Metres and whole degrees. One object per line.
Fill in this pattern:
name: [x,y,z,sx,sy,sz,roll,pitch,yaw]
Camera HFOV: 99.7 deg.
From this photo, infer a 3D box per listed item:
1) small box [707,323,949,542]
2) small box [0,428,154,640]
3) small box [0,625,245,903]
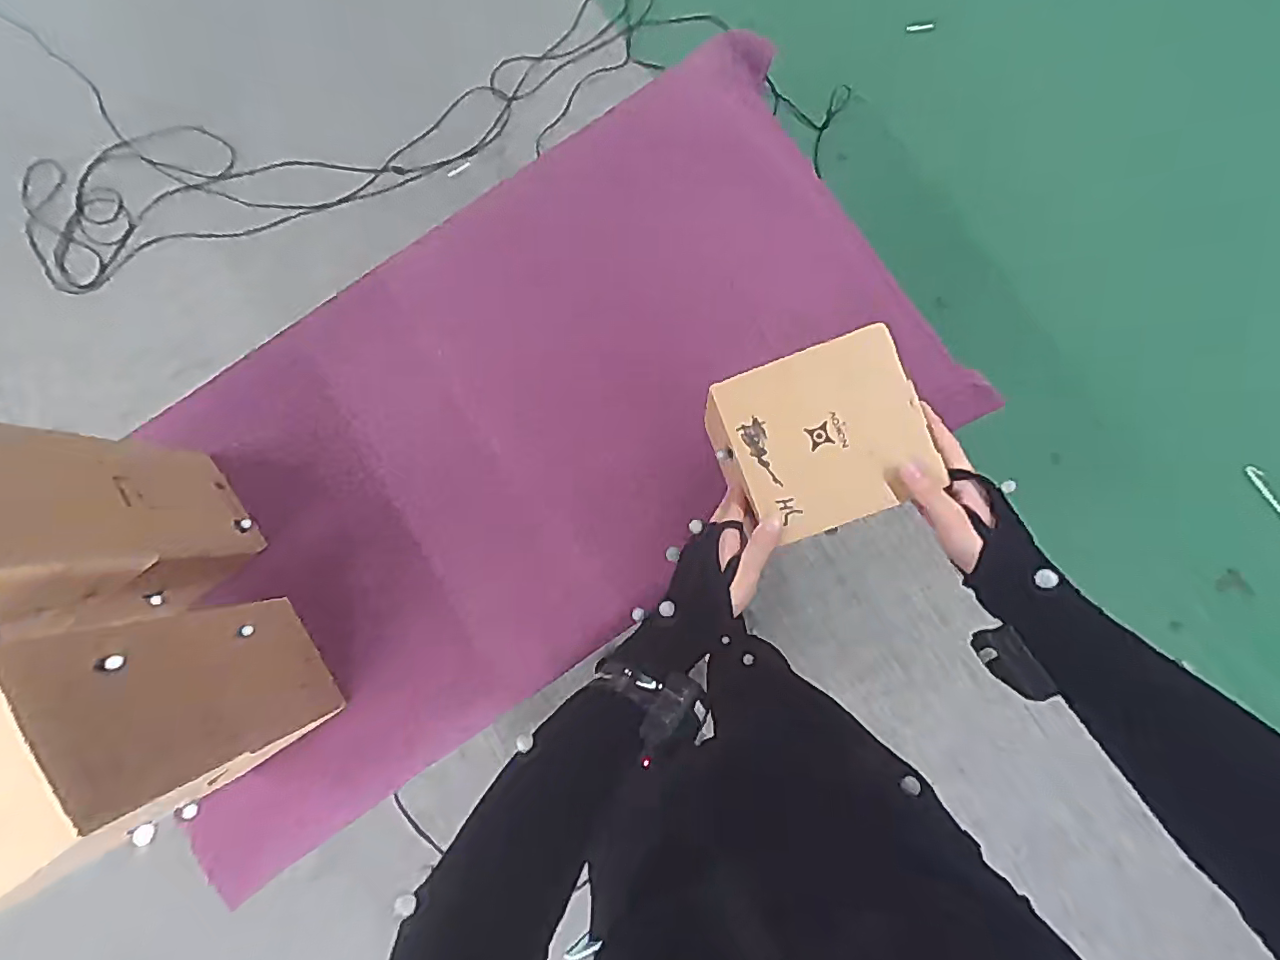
small box: [0.182,-0.039,0.582,0.179,0.176,0.168,-19,84,2]
small box: [-0.644,0.057,0.526,0.168,0.176,0.179,-36,84,0]
small box: [-0.530,0.252,0.500,0.168,0.176,0.179,-36,84,0]
